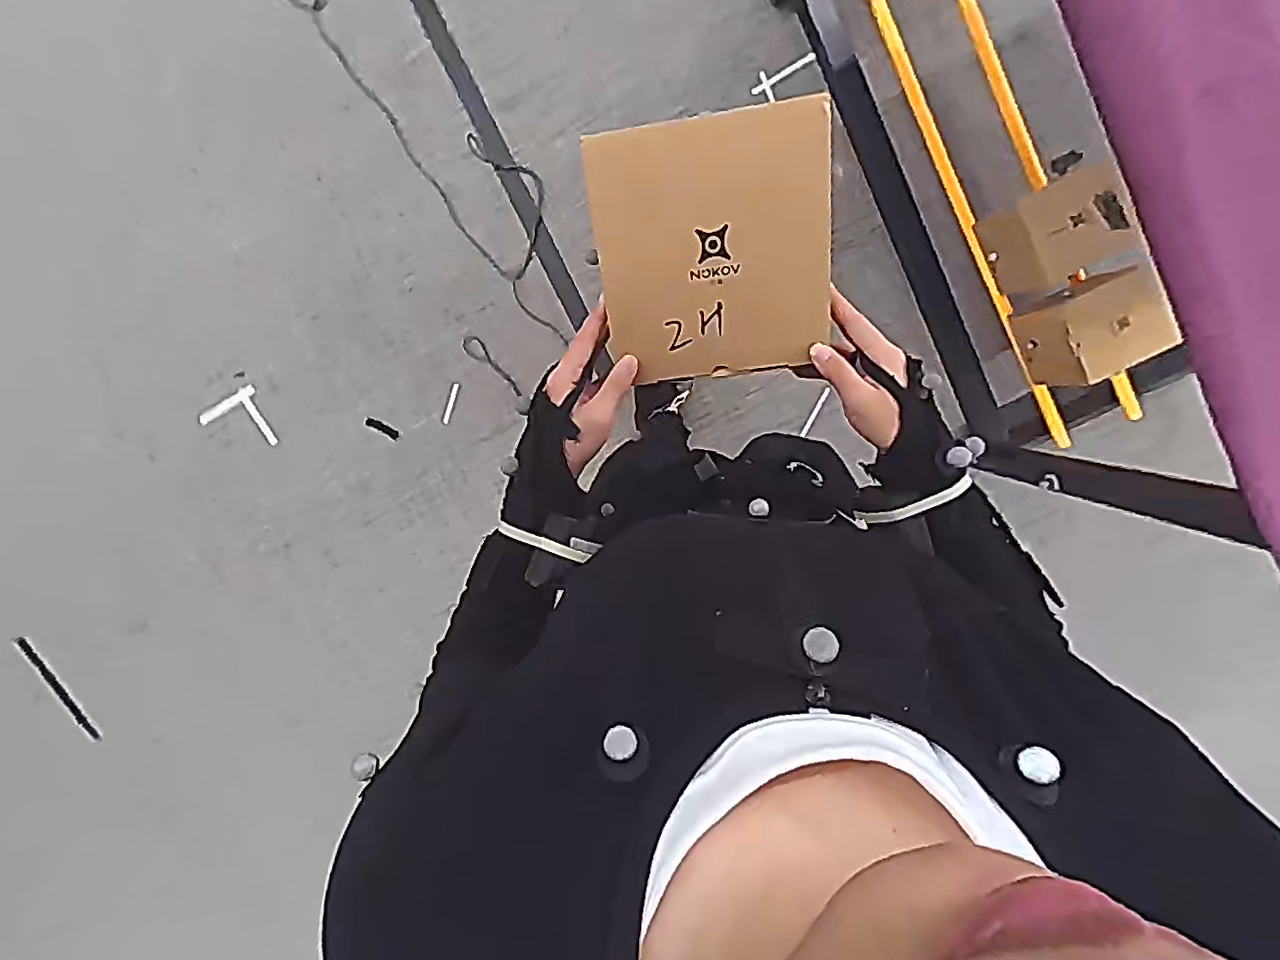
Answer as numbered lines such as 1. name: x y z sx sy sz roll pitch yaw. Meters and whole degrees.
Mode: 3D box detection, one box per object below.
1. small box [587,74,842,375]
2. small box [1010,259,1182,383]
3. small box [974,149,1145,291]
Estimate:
1. small box: 0.059 -0.198 0.447 0.168 0.176 0.179 -5 114 7
2. small box: 0.893 -0.309 1.076 0.179 0.176 0.168 -28 98 9
3. small box: 0.799 -0.490 1.048 0.179 0.176 0.168 -27 98 9
